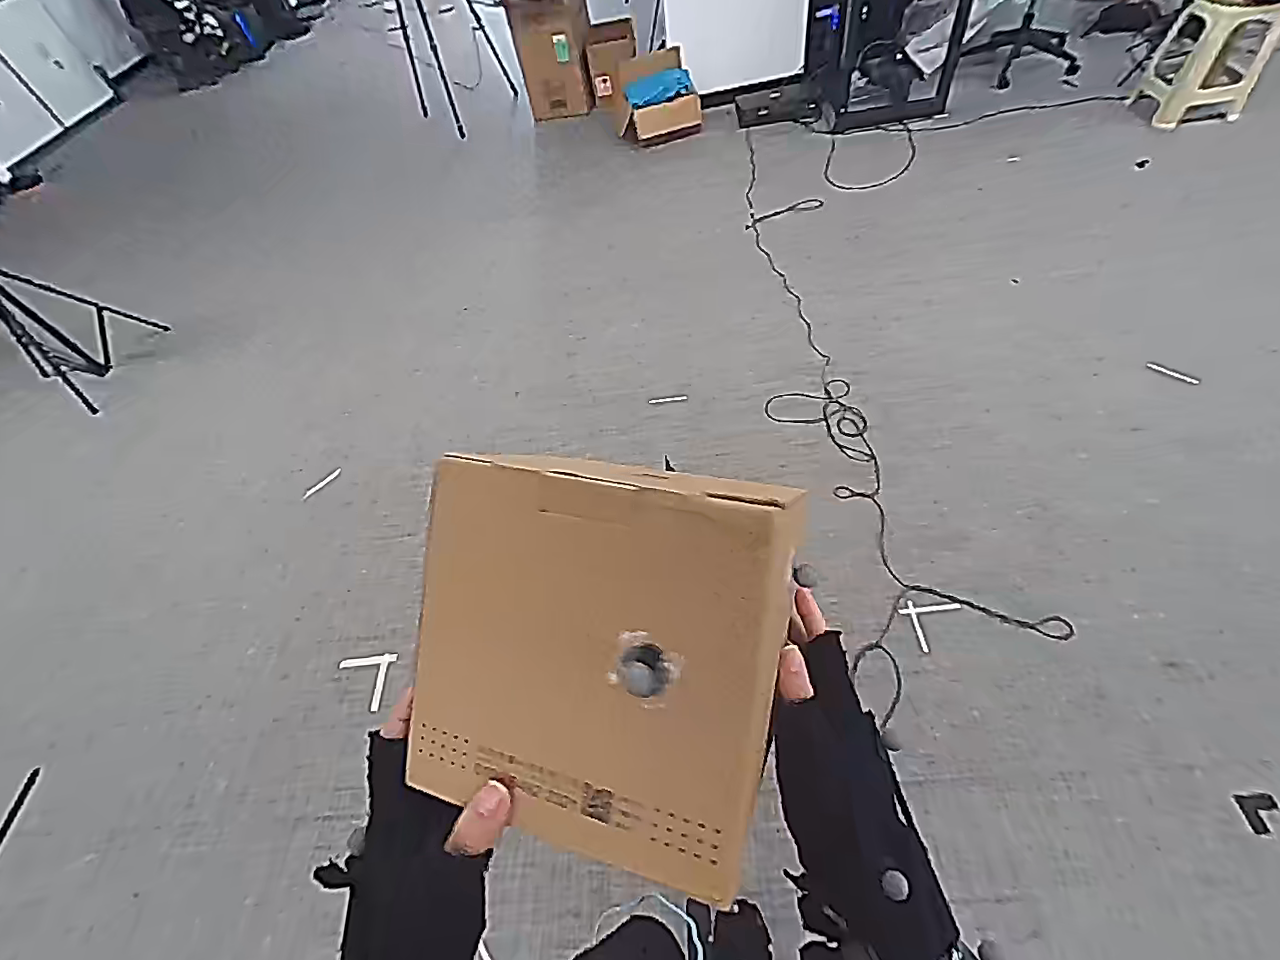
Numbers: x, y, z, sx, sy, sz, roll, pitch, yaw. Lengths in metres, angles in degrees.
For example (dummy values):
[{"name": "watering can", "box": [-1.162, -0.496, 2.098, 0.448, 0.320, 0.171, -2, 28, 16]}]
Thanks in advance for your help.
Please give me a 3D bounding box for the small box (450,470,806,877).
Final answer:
[{"name": "small box", "box": [0.003, 0.088, 0.333, 0.168, 0.179, 0.176, 9, 93, 19]}]
